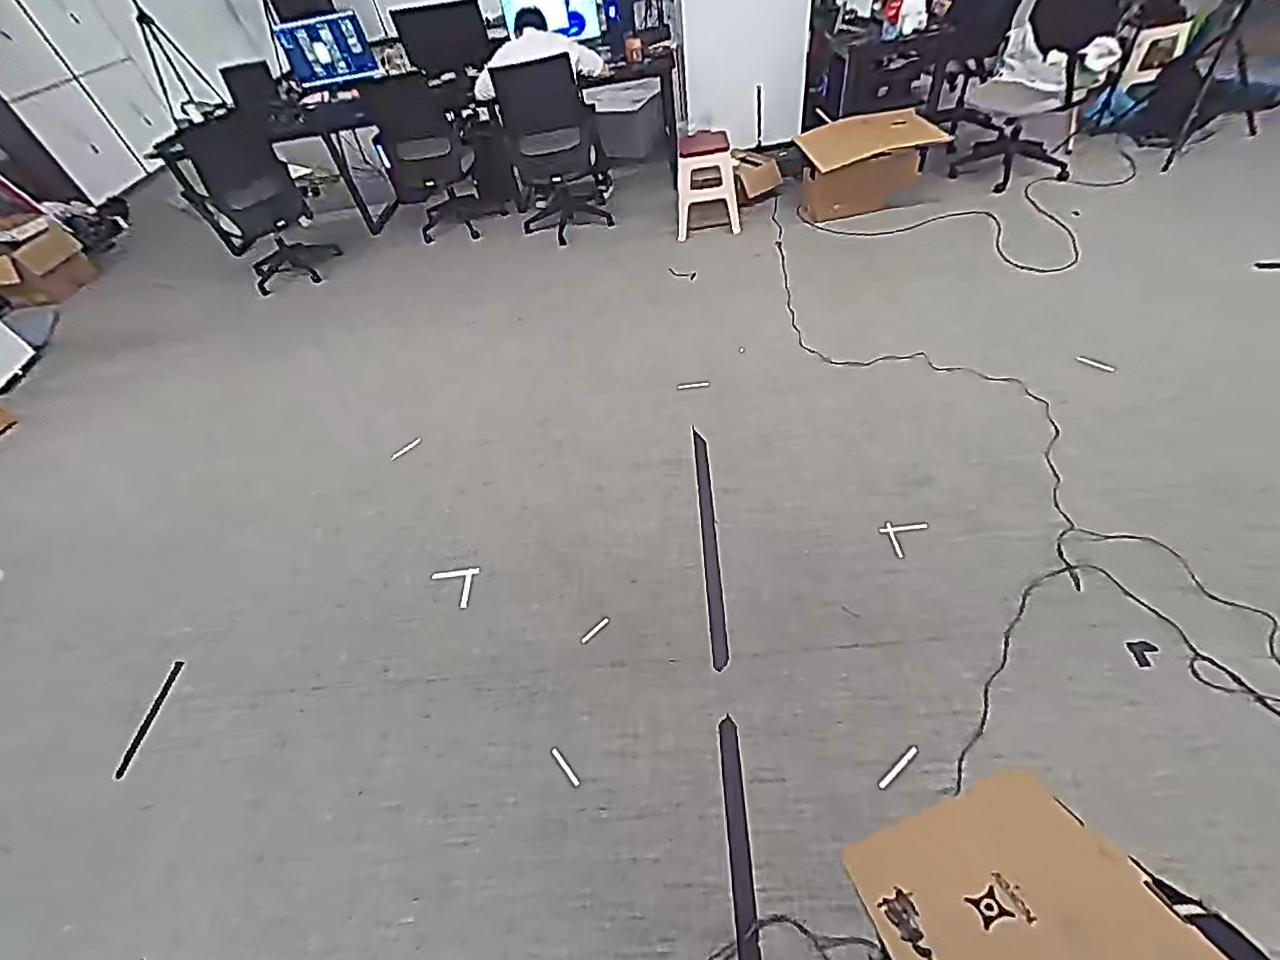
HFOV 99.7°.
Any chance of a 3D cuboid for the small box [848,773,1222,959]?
[{"bbox_3d":[0.297,0.377,0.410,0.179,0.176,0.168,-26,13,1],"label":"small box"}]
